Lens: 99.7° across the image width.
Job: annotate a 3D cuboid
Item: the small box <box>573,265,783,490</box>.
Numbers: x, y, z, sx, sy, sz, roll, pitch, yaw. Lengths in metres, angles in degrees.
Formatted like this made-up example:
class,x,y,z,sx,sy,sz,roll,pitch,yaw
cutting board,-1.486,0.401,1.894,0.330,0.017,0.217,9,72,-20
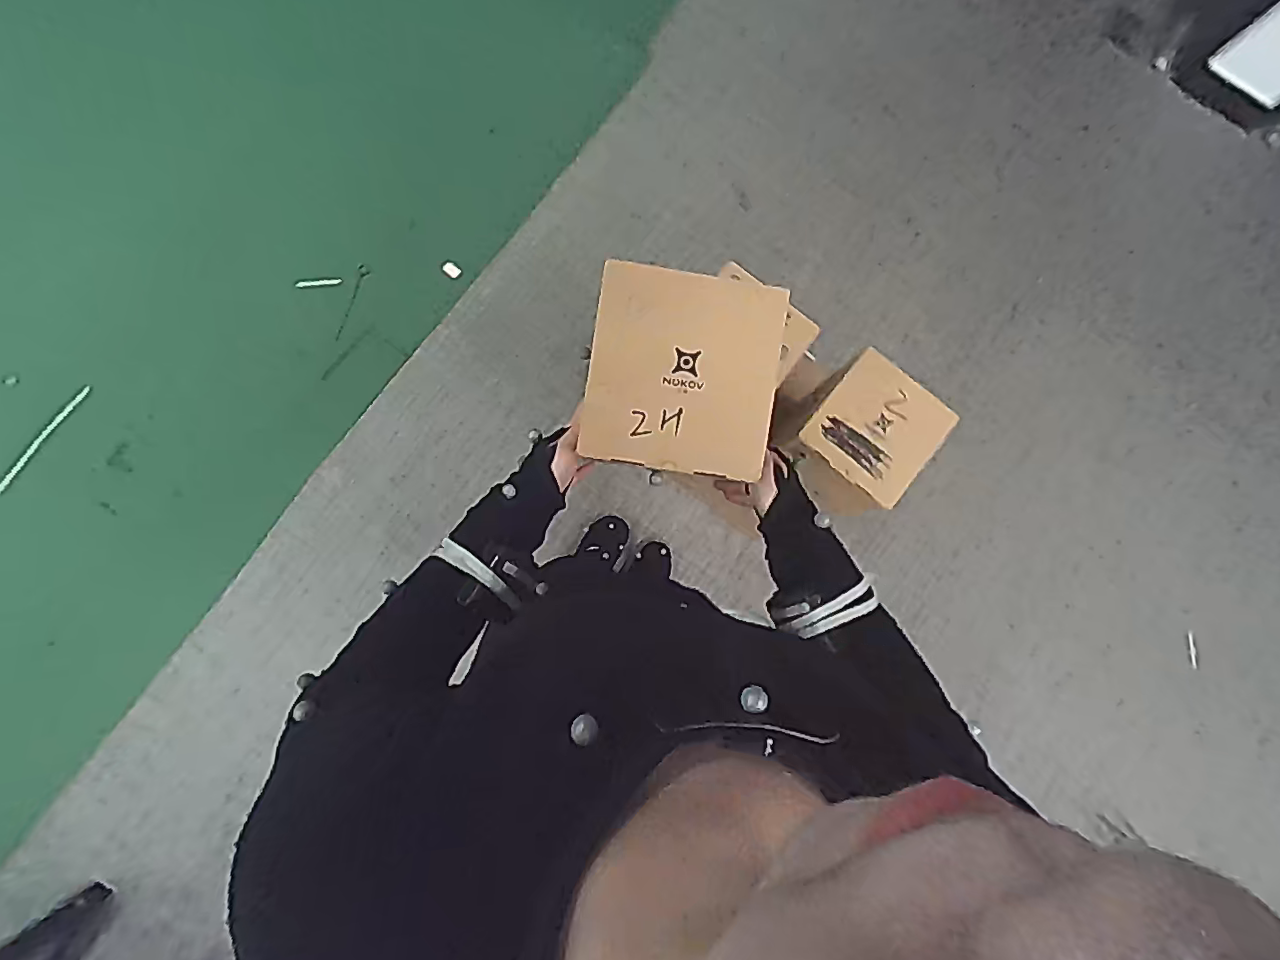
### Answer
class,x,y,z,sx,sy,sz,roll,pitch,yaw
small box,0.030,-0.091,0.552,0.168,0.176,0.179,9,92,-2

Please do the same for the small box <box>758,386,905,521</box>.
class,x,y,z,sx,sy,sz,roll,pitch,yaw
small box,0.338,-0.037,1.000,0.168,0.176,0.179,41,84,3
